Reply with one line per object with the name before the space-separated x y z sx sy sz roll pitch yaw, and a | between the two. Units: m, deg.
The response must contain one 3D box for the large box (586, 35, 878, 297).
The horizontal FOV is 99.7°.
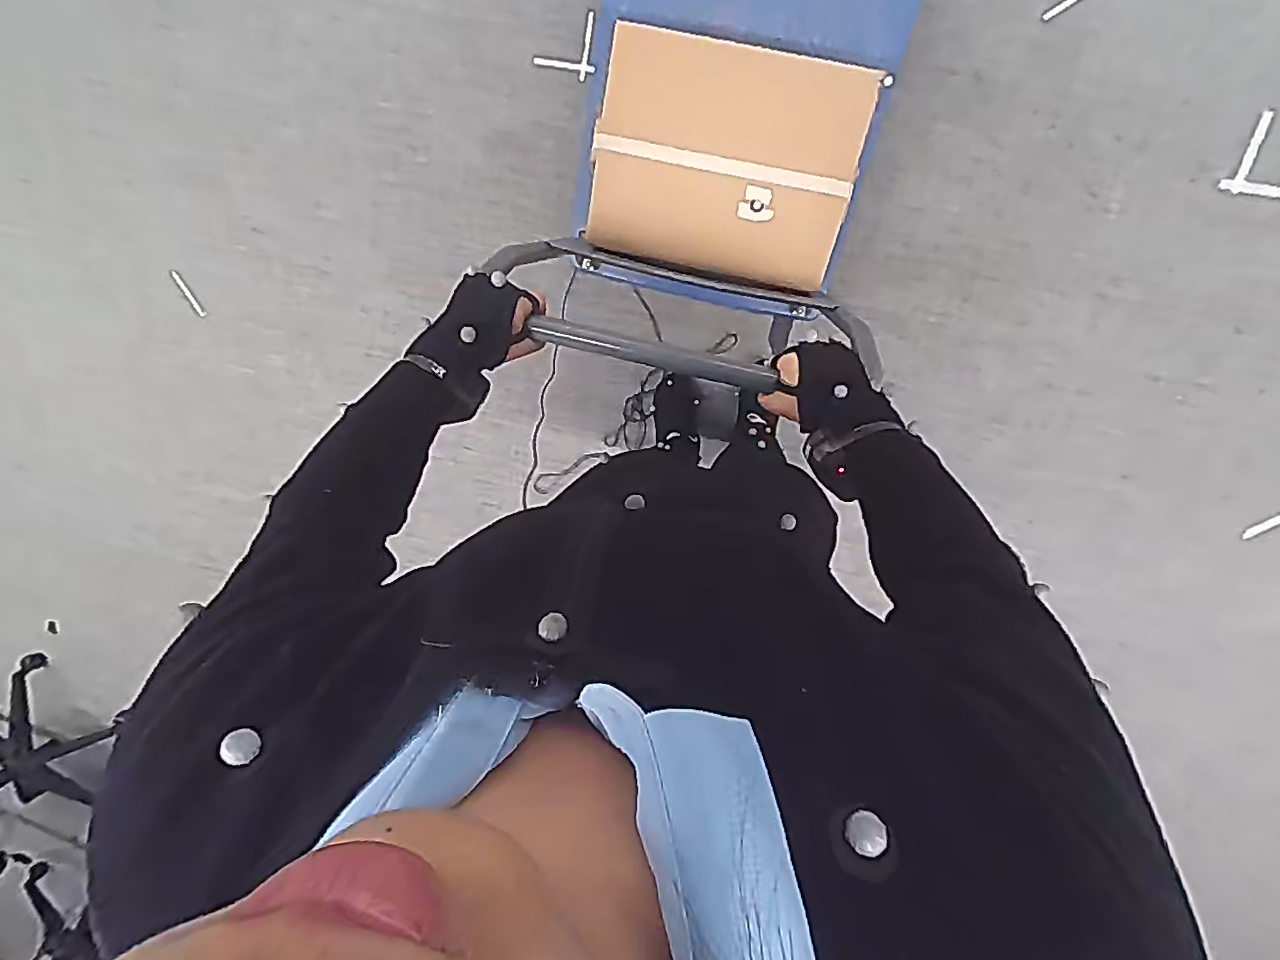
large box | 0.142 -0.535 0.984 0.408 0.320 0.320 12 114 2
